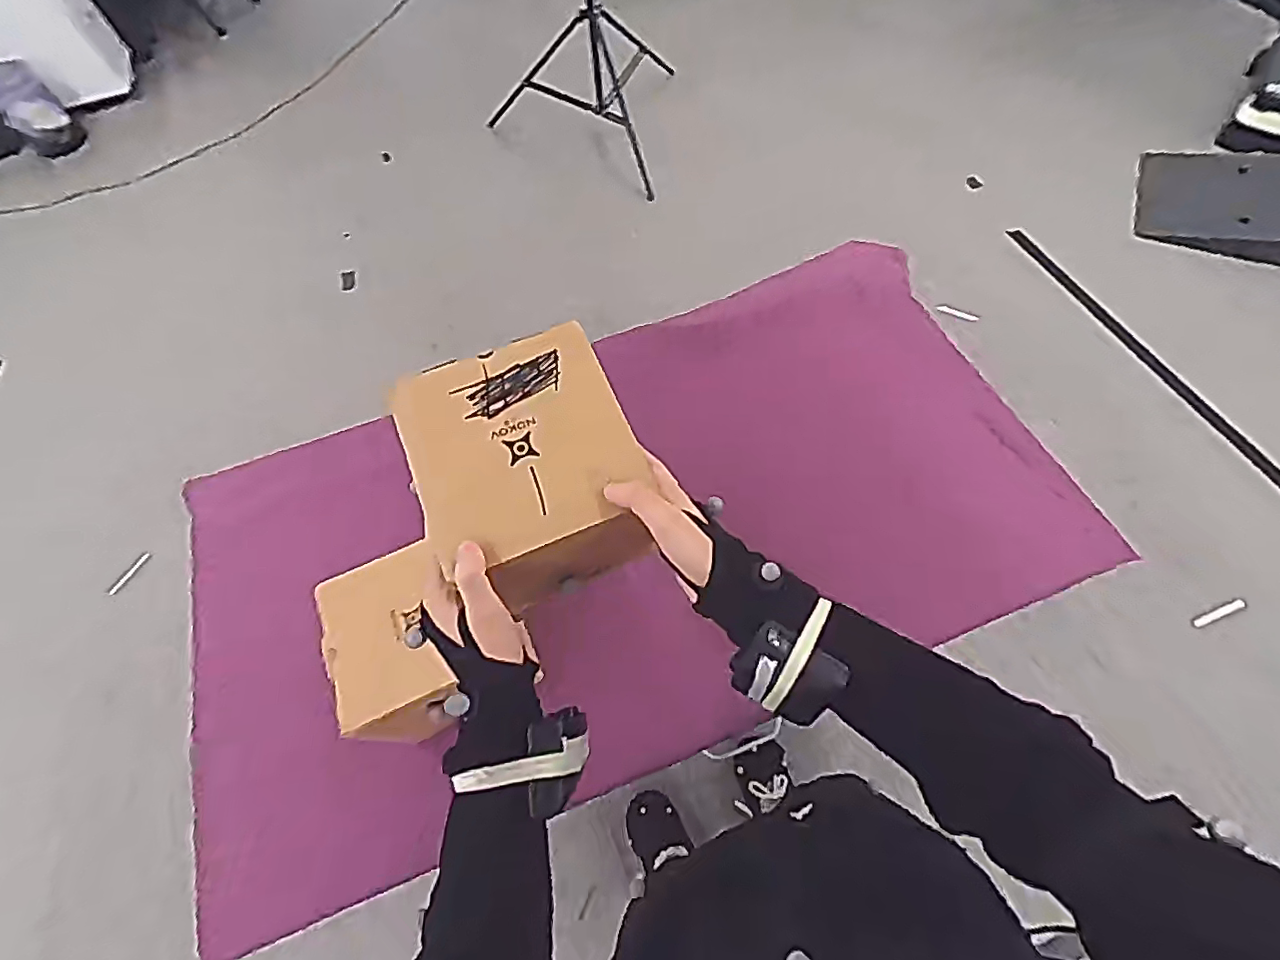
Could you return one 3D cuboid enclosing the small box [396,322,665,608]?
[{"bbox_3d":[-0.090,-0.003,0.488,0.168,0.176,0.179,-22,71,-9],"label":"small box"}]

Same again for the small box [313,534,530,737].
[{"bbox_3d":[-0.242,0.185,0.641,0.179,0.176,0.168,-24,64,-8],"label":"small box"}]
